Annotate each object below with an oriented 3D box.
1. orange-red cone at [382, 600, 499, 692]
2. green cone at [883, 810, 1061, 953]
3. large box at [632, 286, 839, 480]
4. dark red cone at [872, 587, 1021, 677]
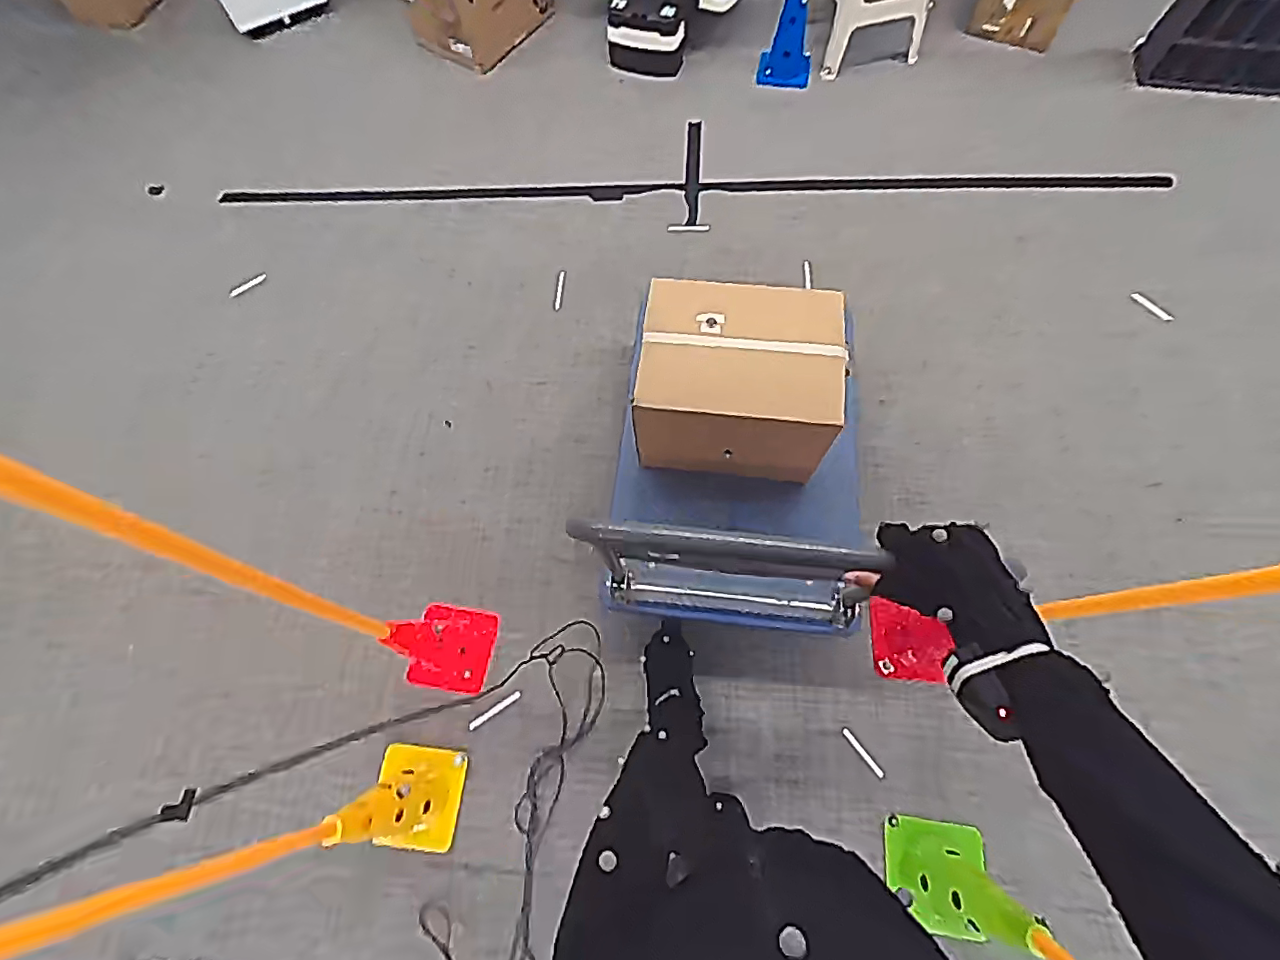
[{"bbox_3d":[-0.474,0.348,1.202,0.198,0.360,0.199,9,68,6],"label":"orange-red cone"},{"bbox_3d":[0.609,0.753,0.972,0.202,0.368,0.200,6,69,4],"label":"green cone"},{"bbox_3d":[0.209,-0.206,1.227,0.408,0.320,0.320,6,69,6],"label":"large box"},{"bbox_3d":[0.657,0.297,1.133,0.201,0.394,0.202,3,69,2],"label":"dark red cone"}]
